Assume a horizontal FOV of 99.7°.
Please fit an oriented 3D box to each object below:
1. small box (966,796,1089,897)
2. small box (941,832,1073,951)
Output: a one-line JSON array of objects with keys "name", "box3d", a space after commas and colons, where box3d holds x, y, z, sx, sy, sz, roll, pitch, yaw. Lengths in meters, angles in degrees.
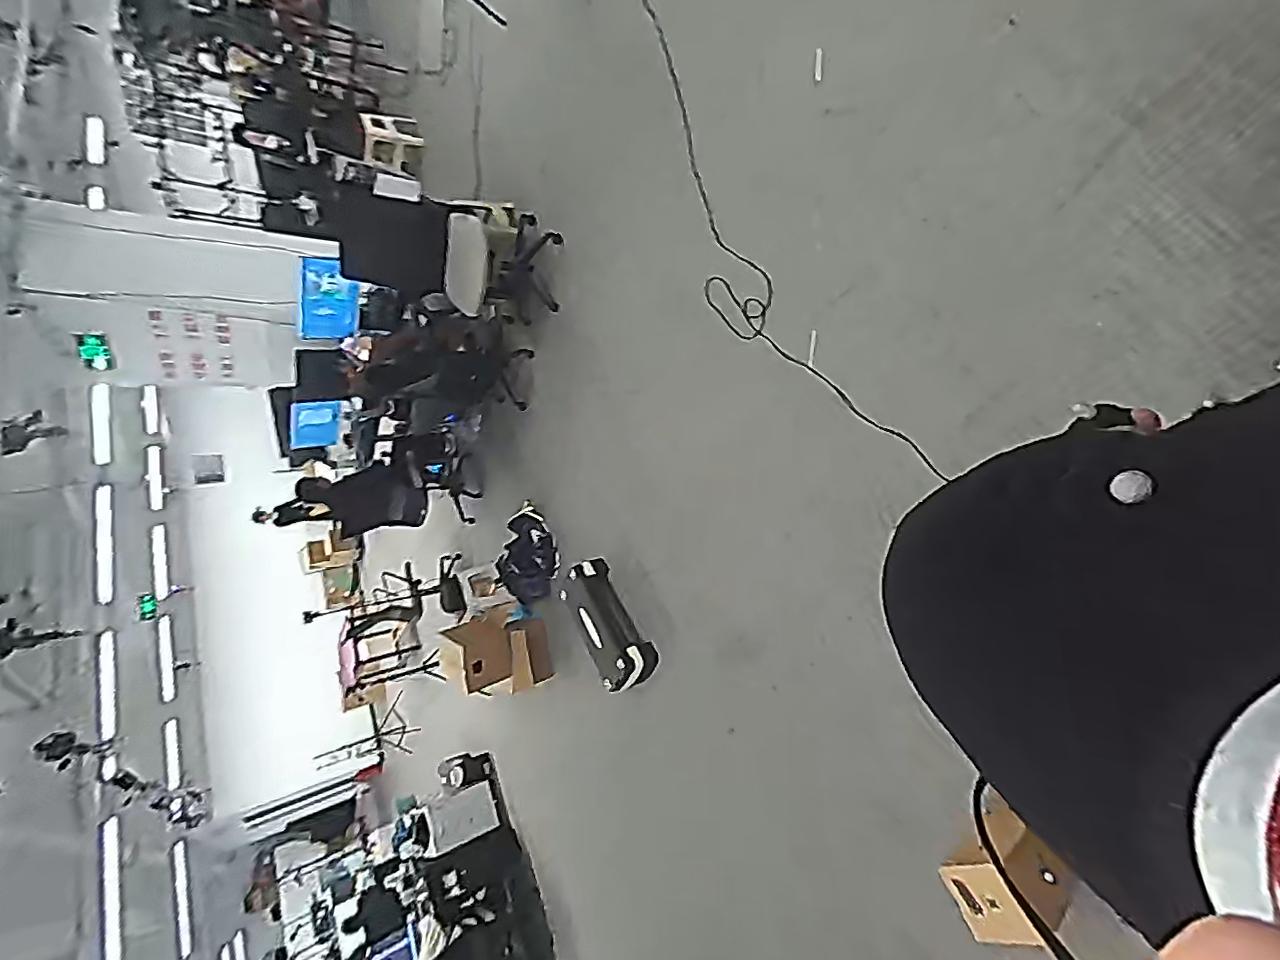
[{"name": "small box", "box3d": [0.999, 0.947, 1.393, 0.179, 0.176, 0.168, -51, 58, 43]}, {"name": "small box", "box3d": [0.874, 0.971, 1.288, 0.179, 0.176, 0.168, -50, 58, 44]}]
